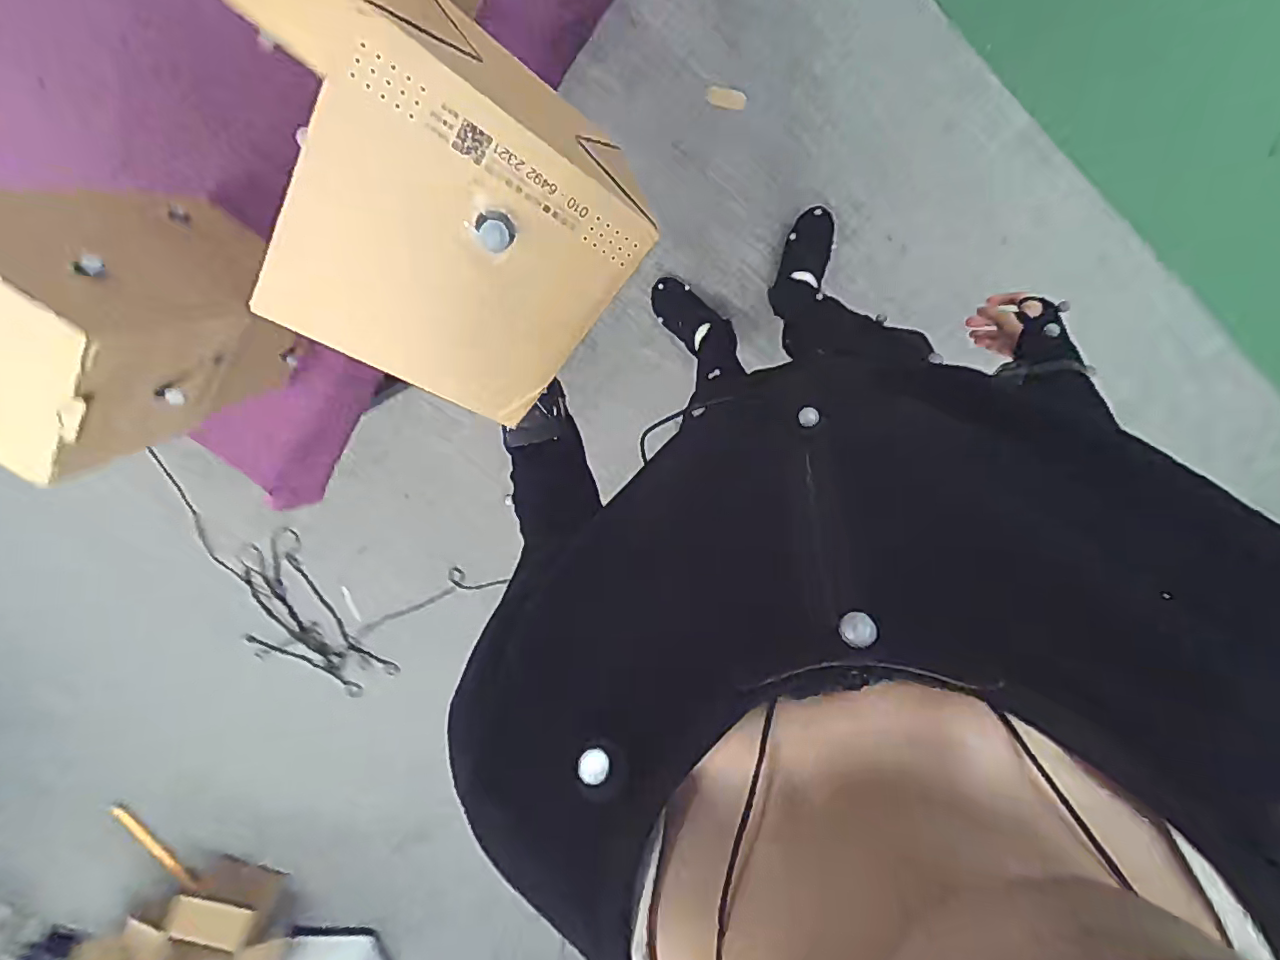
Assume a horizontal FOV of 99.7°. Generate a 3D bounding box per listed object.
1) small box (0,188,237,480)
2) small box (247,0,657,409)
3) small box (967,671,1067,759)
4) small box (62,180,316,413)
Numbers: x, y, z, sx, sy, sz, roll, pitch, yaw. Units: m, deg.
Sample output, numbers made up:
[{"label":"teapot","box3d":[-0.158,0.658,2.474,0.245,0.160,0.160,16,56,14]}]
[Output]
[{"label":"small box","box3d":[-0.516,-0.137,0.481,0.179,0.176,0.168,37,111,-13]},{"label":"small box","box3d":[-0.109,-0.186,0.347,0.168,0.179,0.176,25,125,-32]},{"label":"small box","box3d":[1.202,0.745,1.739,0.179,0.176,0.168,43,111,-15]},{"label":"small box","box3d":[-0.516,-0.210,0.628,0.179,0.176,0.168,35,112,-12]}]
